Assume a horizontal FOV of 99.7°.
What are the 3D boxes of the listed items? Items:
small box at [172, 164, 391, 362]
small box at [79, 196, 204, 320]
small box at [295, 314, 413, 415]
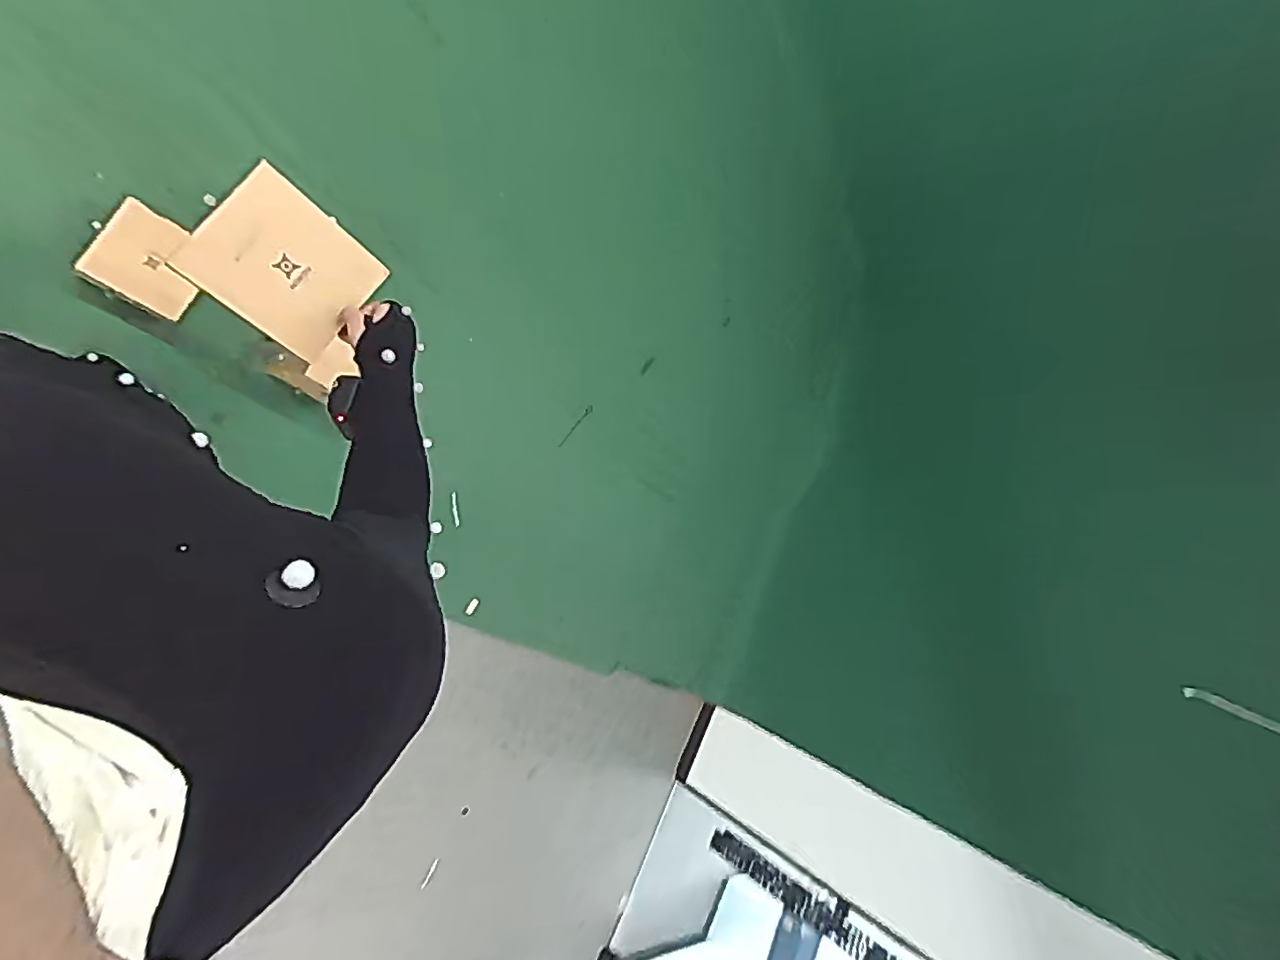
[{"bbox_3d":[-0.484,-0.289,0.733,0.168,0.176,0.179,-56,133,-10],"label":"small box"},{"bbox_3d":[-1.024,-0.454,1.140,0.168,0.176,0.179,37,73,-45],"label":"small box"},{"bbox_3d":[-0.689,-0.281,1.293,0.168,0.176,0.179,42,72,-45],"label":"small box"}]
